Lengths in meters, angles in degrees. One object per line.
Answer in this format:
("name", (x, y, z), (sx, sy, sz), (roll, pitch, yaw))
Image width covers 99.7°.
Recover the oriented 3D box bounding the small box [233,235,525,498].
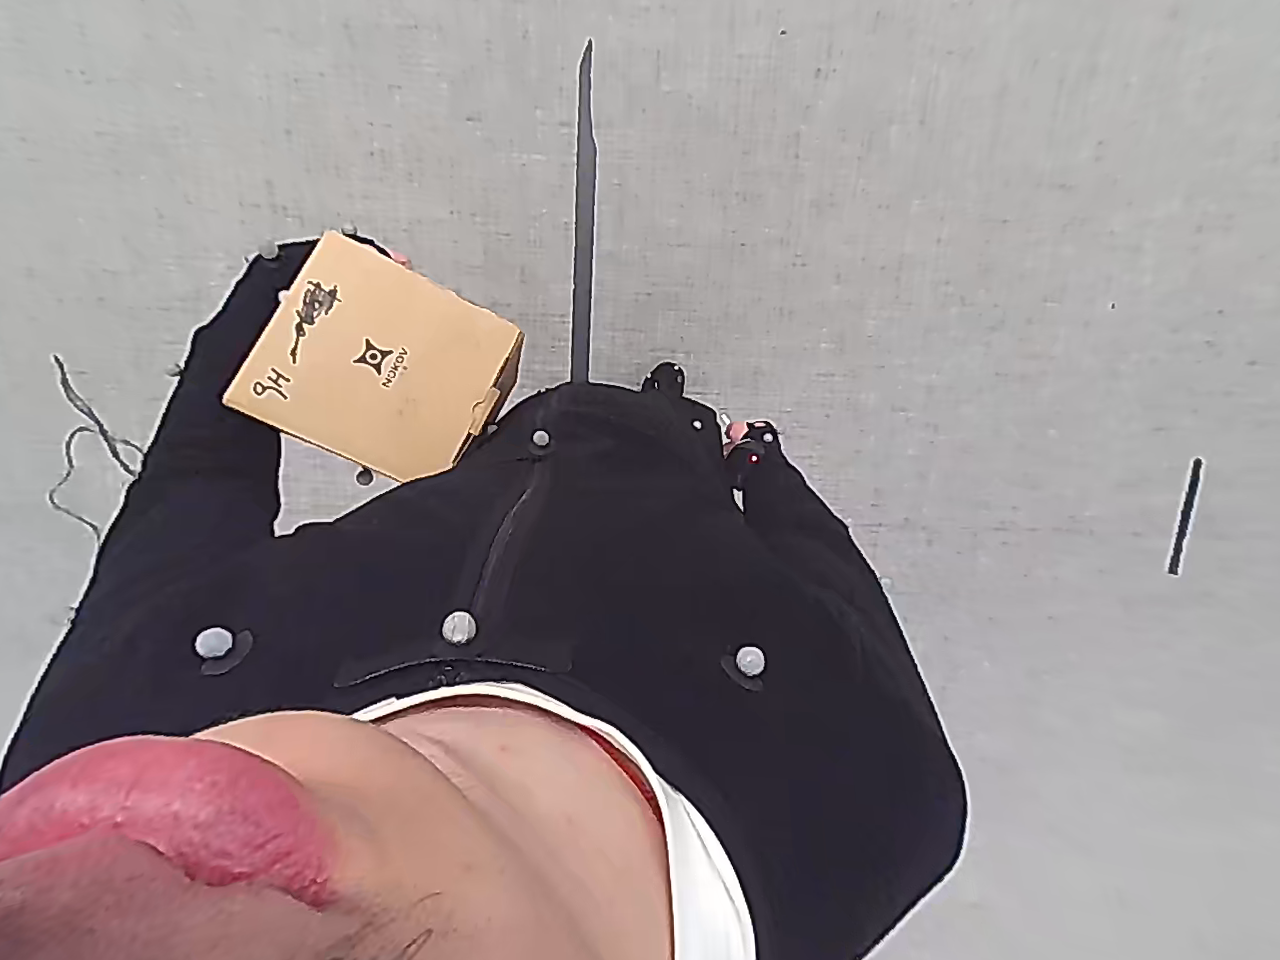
("small box", (-0.231, -0.090, 0.527), (0.179, 0.176, 0.168), (26, 79, -13))
